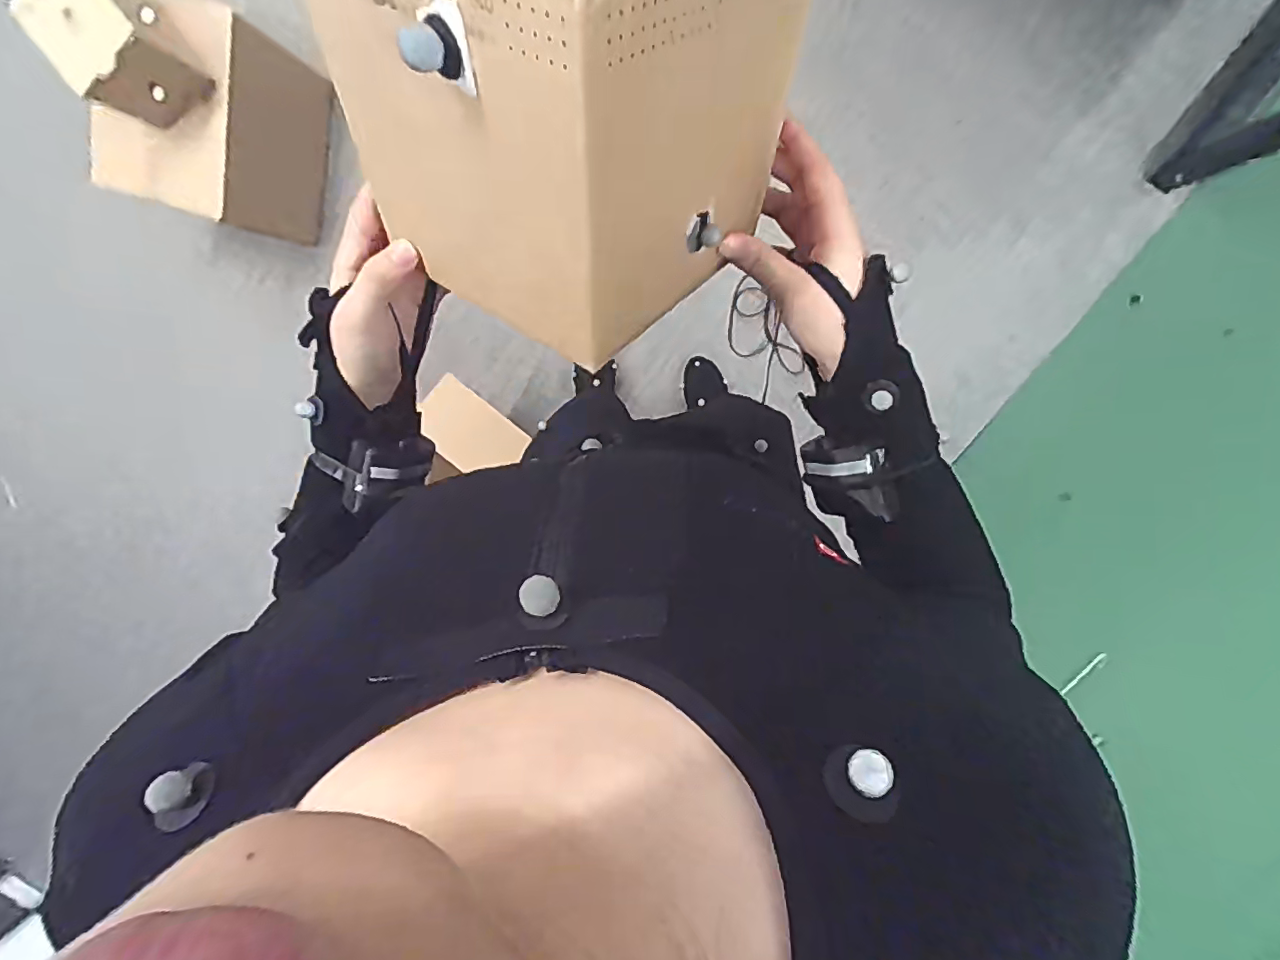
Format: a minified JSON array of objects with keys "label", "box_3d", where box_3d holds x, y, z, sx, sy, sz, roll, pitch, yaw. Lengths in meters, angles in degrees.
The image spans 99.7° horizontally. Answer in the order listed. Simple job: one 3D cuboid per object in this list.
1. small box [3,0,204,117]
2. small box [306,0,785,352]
[{"label":"small box","box_3d":[-0.989,-0.826,1.016,0.168,0.176,0.179,-34,100,12]},{"label":"small box","box_3d":[-0.039,-0.209,0.288,0.168,0.179,0.176,33,149,19]}]
